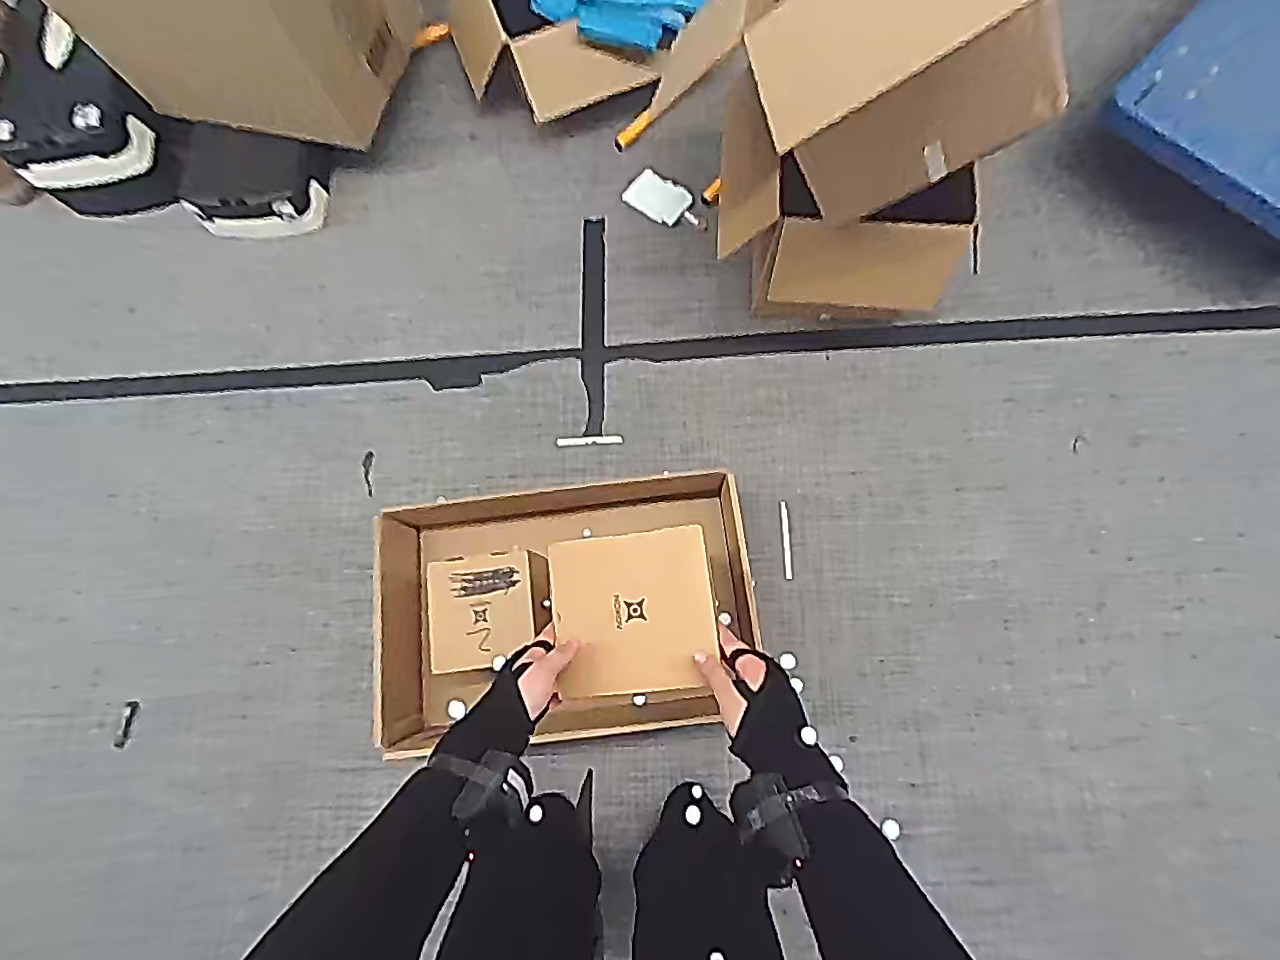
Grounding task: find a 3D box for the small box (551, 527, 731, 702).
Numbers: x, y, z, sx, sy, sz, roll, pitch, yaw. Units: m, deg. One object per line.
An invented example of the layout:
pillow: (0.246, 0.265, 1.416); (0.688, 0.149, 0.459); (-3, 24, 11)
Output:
small box: (0.008, 0.153, 0.638); (0.179, 0.176, 0.168); (-8, 77, 8)
